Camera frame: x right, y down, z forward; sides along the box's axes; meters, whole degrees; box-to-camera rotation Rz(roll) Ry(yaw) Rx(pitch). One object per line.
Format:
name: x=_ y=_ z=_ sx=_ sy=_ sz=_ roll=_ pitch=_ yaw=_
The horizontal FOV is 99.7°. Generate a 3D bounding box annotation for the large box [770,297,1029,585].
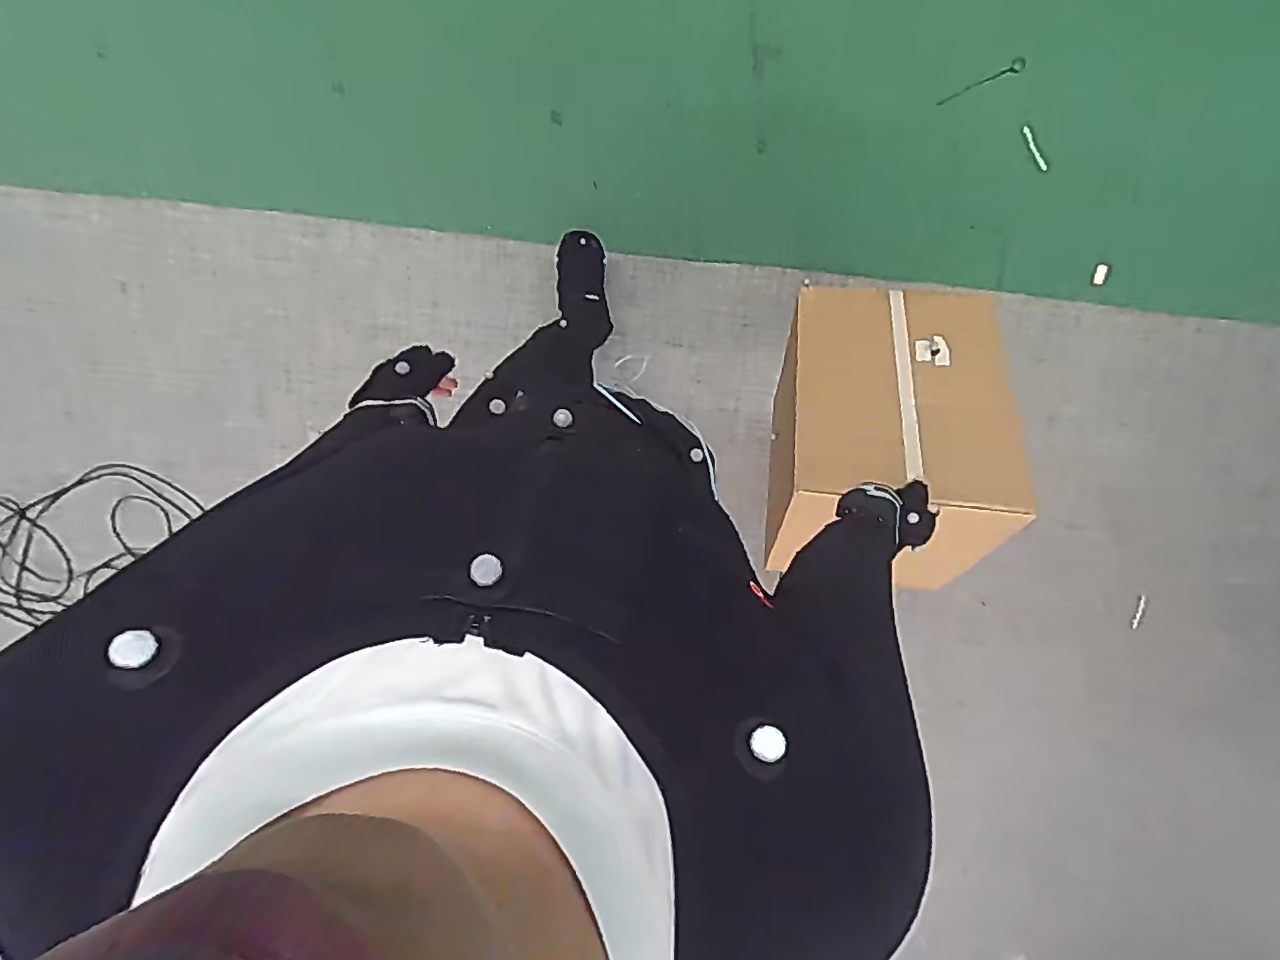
large box: x=0.408 y=-0.062 z=0.961 sx=0.320 sy=0.320 sz=0.408 roll=6 pitch=60 yaw=7
